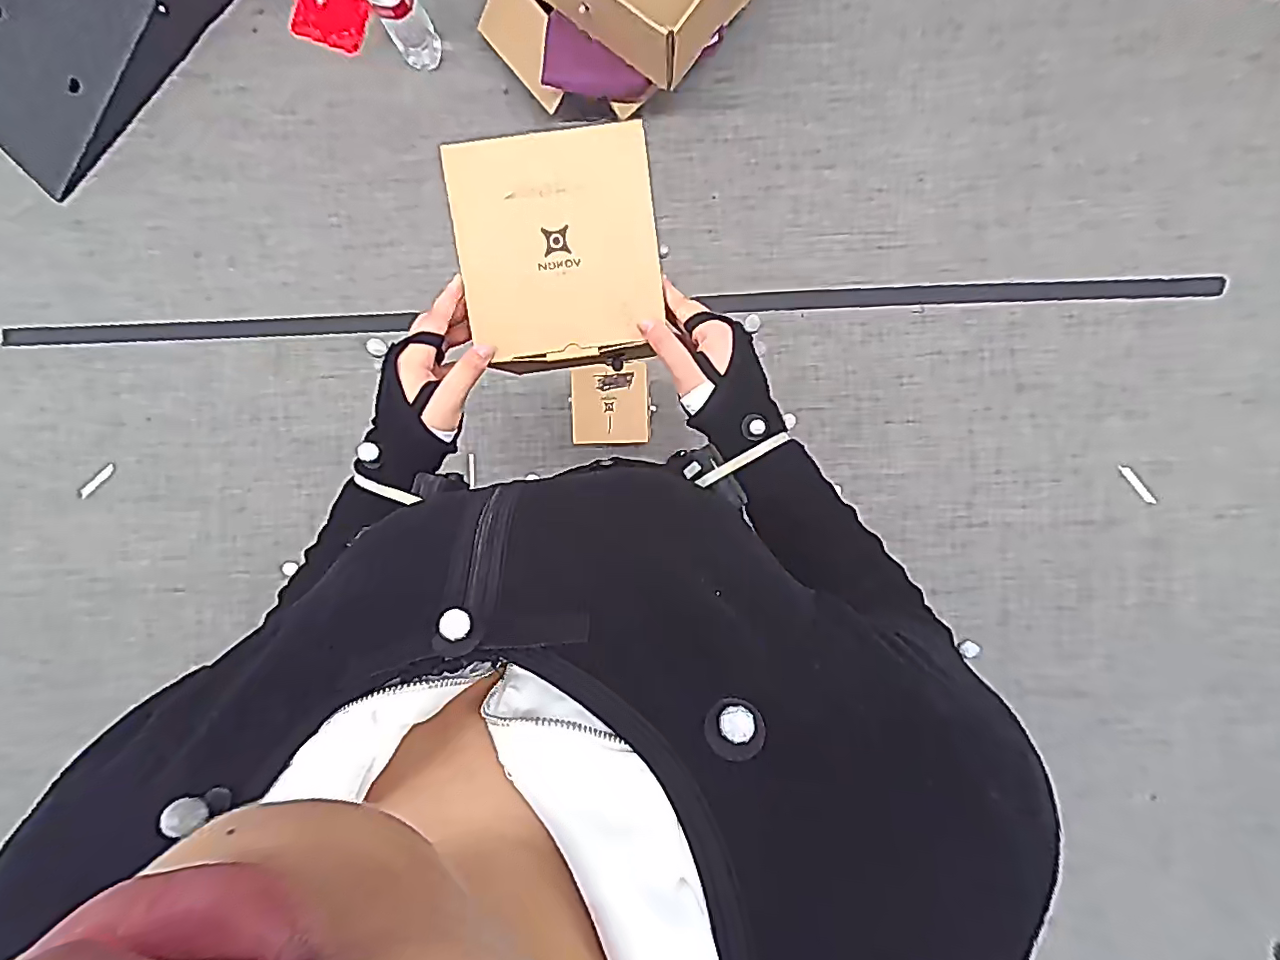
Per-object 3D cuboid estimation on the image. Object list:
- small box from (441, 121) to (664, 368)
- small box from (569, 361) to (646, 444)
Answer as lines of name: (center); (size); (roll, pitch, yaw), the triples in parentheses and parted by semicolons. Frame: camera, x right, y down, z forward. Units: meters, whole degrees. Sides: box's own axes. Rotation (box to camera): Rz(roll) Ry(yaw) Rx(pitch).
small box: (-0.071, -0.206, 0.525); (0.168, 0.176, 0.179); (-8, 98, -1)
small box: (-0.071, -0.173, 1.242); (0.168, 0.176, 0.179); (-1, 94, 1)
